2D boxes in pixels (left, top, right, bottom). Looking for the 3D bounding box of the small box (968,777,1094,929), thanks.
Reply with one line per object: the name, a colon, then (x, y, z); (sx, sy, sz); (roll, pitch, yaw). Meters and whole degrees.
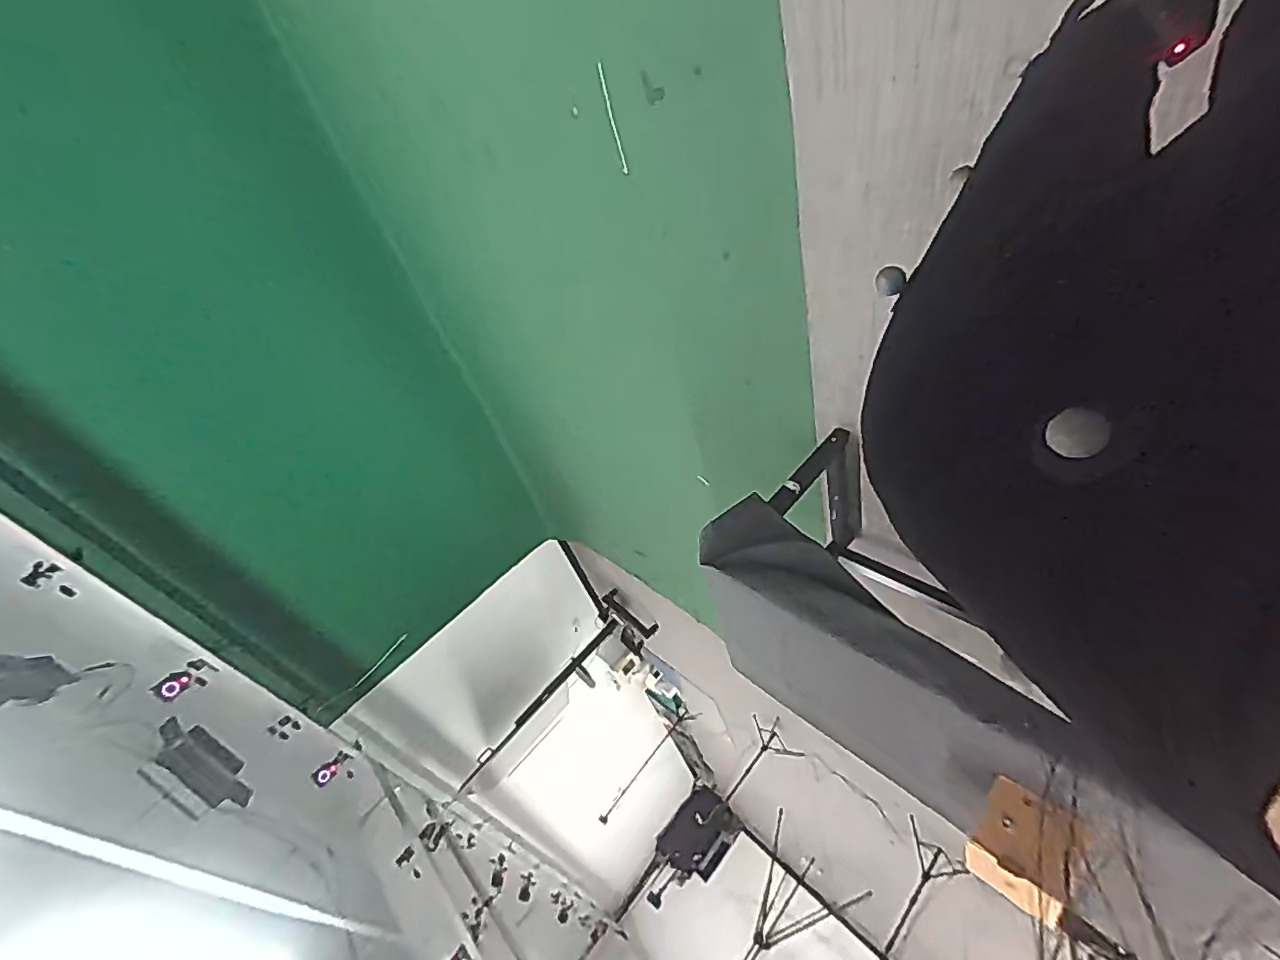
small box: (0.805, 0.761, 1.118); (0.168, 0.176, 0.179); (22, 147, 48)
